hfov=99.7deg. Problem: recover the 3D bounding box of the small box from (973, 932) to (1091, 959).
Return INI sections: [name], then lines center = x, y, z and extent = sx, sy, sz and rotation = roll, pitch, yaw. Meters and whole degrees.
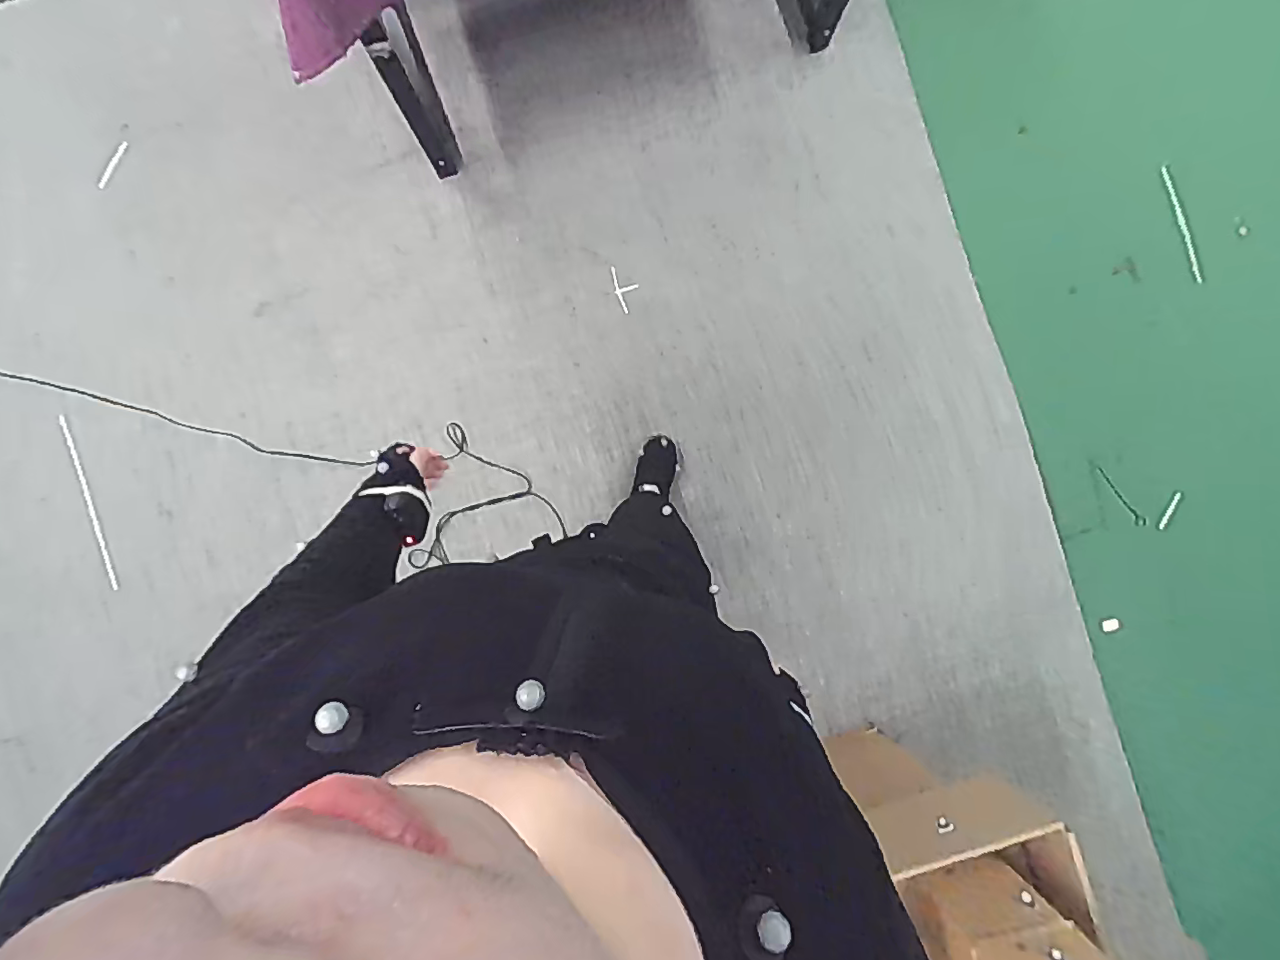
[small box]
center = 0.620, 0.814, 0.778
extent = 0.168, 0.176, 0.179
rotation = -10, 89, -2
